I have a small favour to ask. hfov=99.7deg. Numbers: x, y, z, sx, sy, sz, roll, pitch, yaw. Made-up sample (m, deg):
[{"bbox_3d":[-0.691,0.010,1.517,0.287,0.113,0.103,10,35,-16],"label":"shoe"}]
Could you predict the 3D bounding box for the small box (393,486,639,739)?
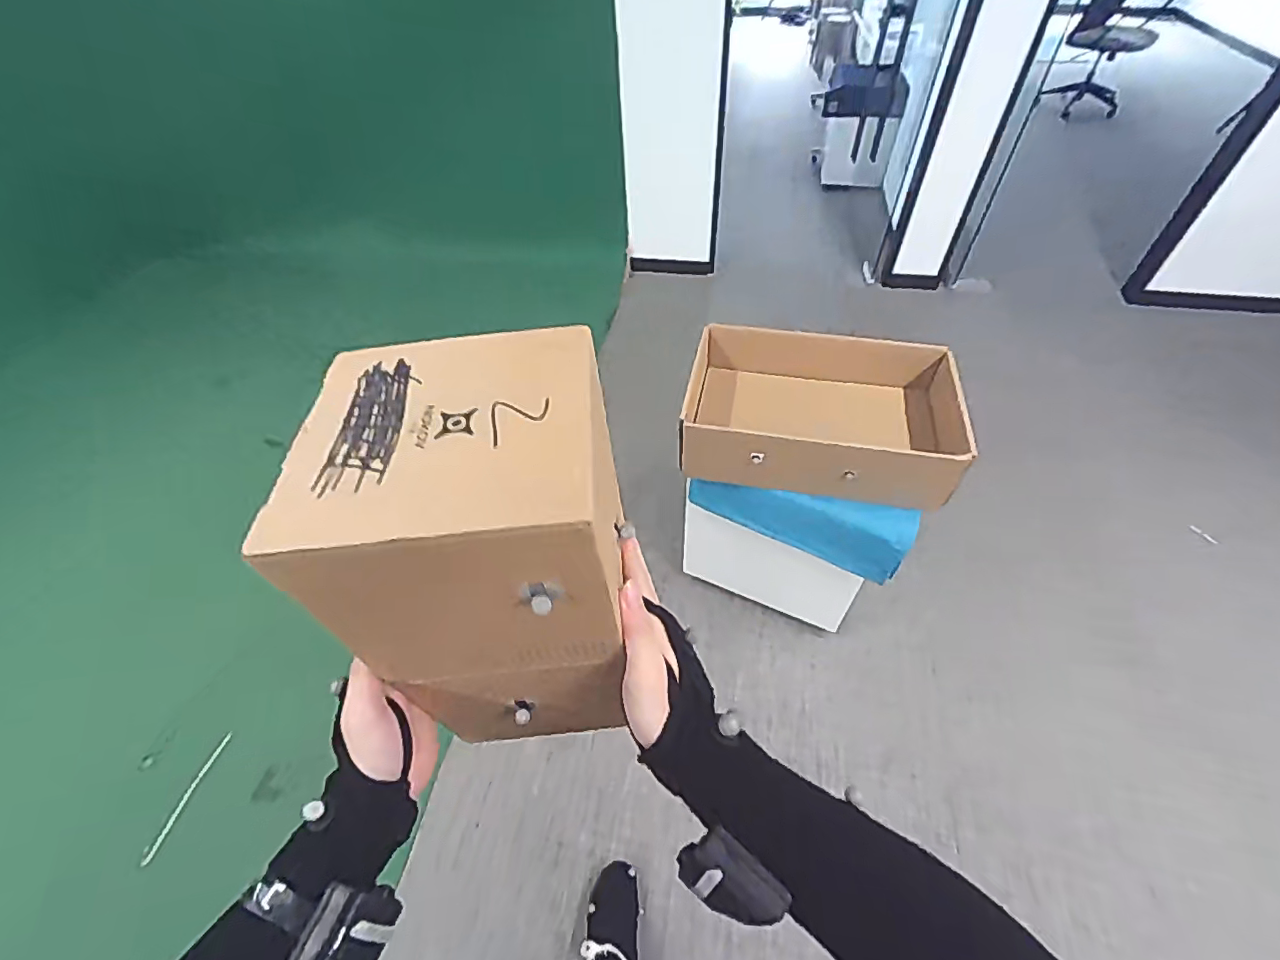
[{"bbox_3d":[-0.094,0.128,0.504,0.179,0.176,0.168,-7,49,1],"label":"small box"}]
